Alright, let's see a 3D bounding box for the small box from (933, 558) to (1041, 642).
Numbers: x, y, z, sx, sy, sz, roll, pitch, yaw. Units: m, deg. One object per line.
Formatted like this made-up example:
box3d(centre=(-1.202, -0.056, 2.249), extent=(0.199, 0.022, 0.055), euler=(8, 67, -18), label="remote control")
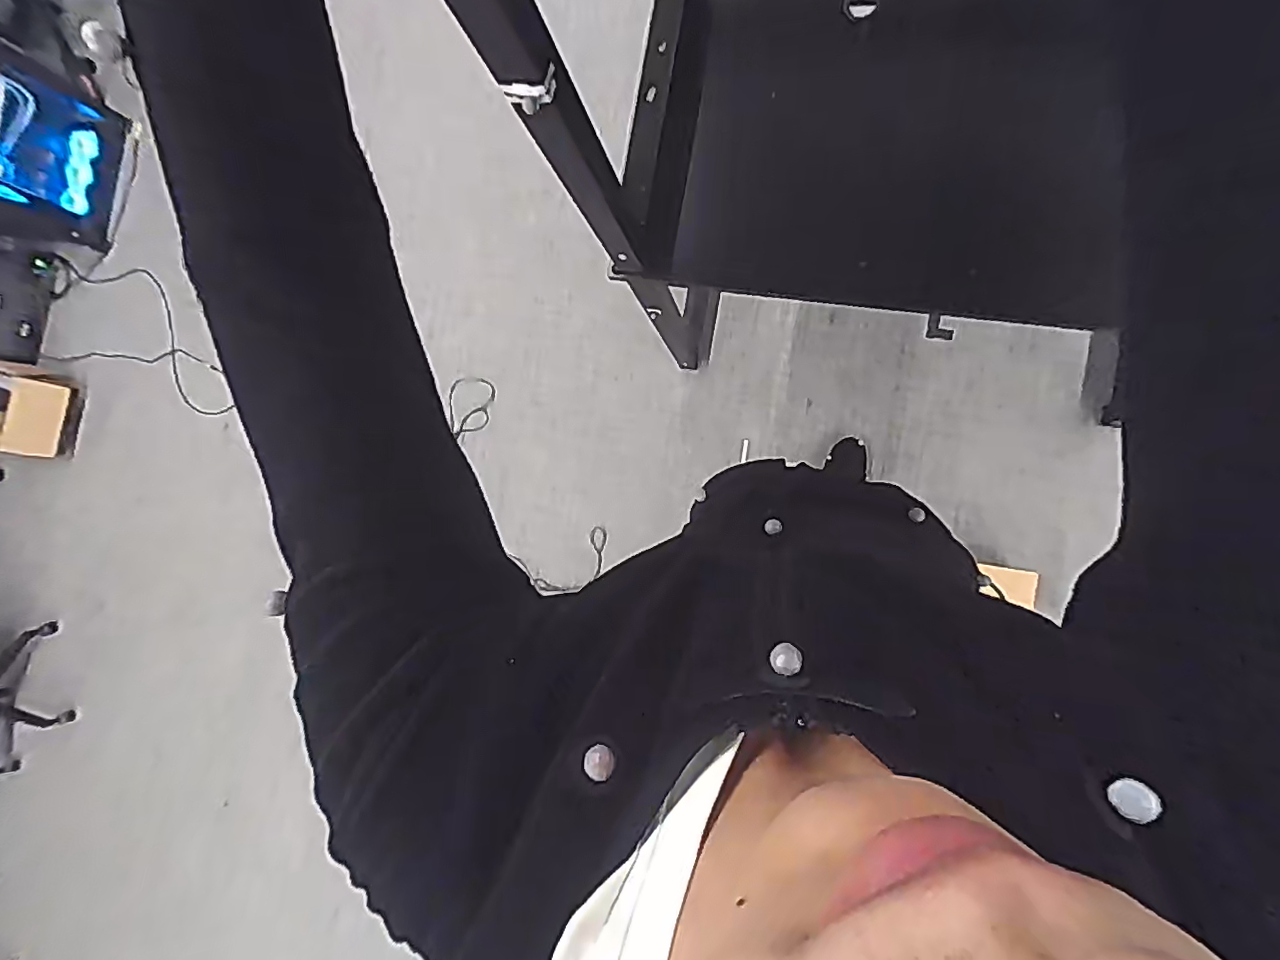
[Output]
box3d(centre=(0.881, 0.298, 1.388), extent=(0.179, 0.176, 0.168), euler=(9, 89, 14), label="small box")
